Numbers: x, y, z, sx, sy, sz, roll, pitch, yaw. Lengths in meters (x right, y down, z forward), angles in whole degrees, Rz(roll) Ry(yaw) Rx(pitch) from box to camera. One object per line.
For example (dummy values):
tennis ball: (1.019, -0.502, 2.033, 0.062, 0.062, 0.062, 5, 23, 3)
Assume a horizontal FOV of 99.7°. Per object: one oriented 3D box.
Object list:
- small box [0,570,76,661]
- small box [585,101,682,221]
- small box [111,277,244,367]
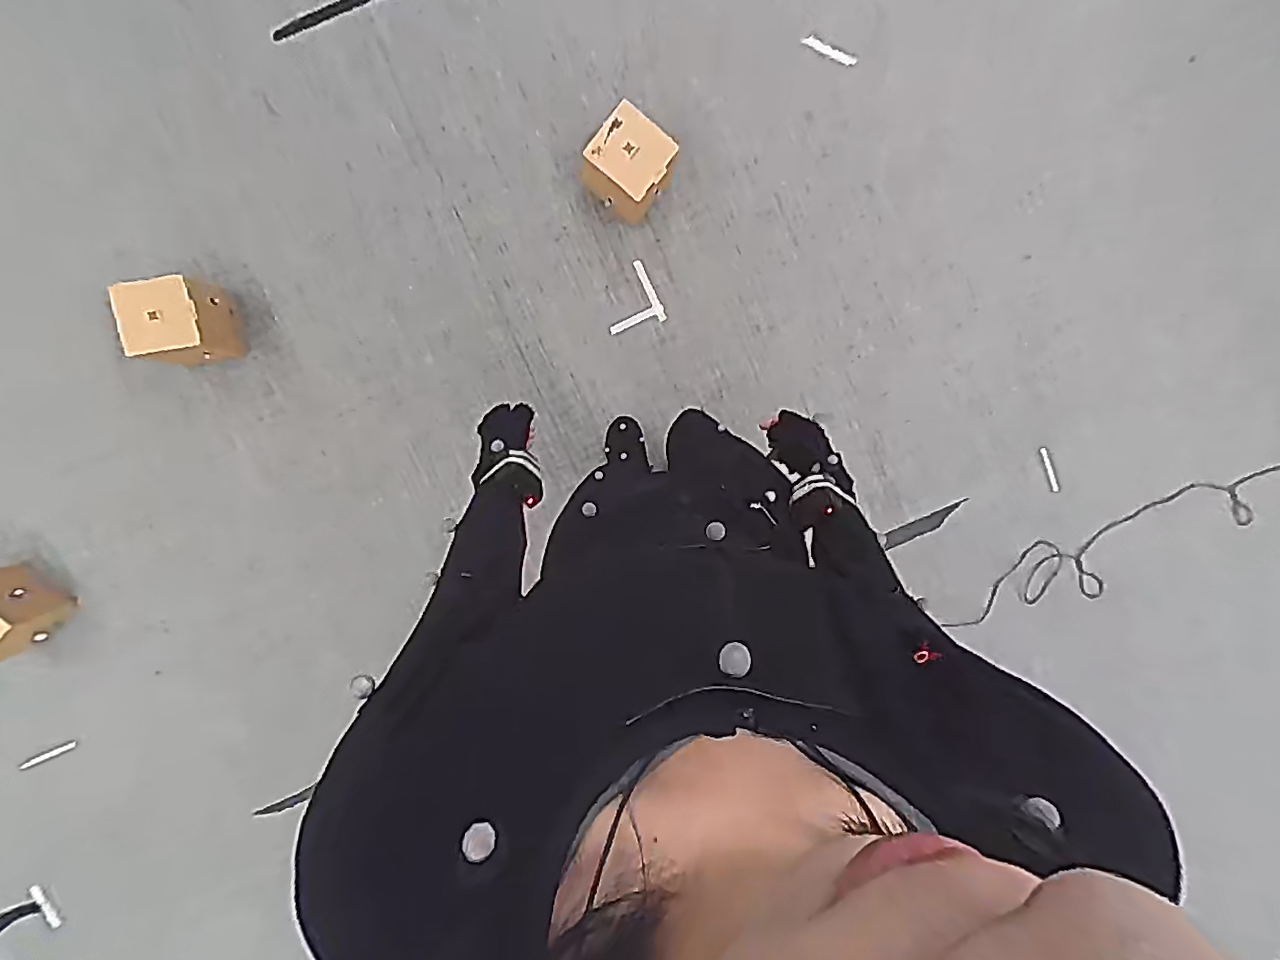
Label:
small box: (-1.601, 0.342, 1.346, 0.179, 0.176, 0.168, 44, 91, -7)
small box: (-0.020, -0.780, 1.352, 0.179, 0.176, 0.168, 38, 92, -7)
small box: (-1.110, -0.379, 1.319, 0.179, 0.176, 0.168, -11, 94, -2)
